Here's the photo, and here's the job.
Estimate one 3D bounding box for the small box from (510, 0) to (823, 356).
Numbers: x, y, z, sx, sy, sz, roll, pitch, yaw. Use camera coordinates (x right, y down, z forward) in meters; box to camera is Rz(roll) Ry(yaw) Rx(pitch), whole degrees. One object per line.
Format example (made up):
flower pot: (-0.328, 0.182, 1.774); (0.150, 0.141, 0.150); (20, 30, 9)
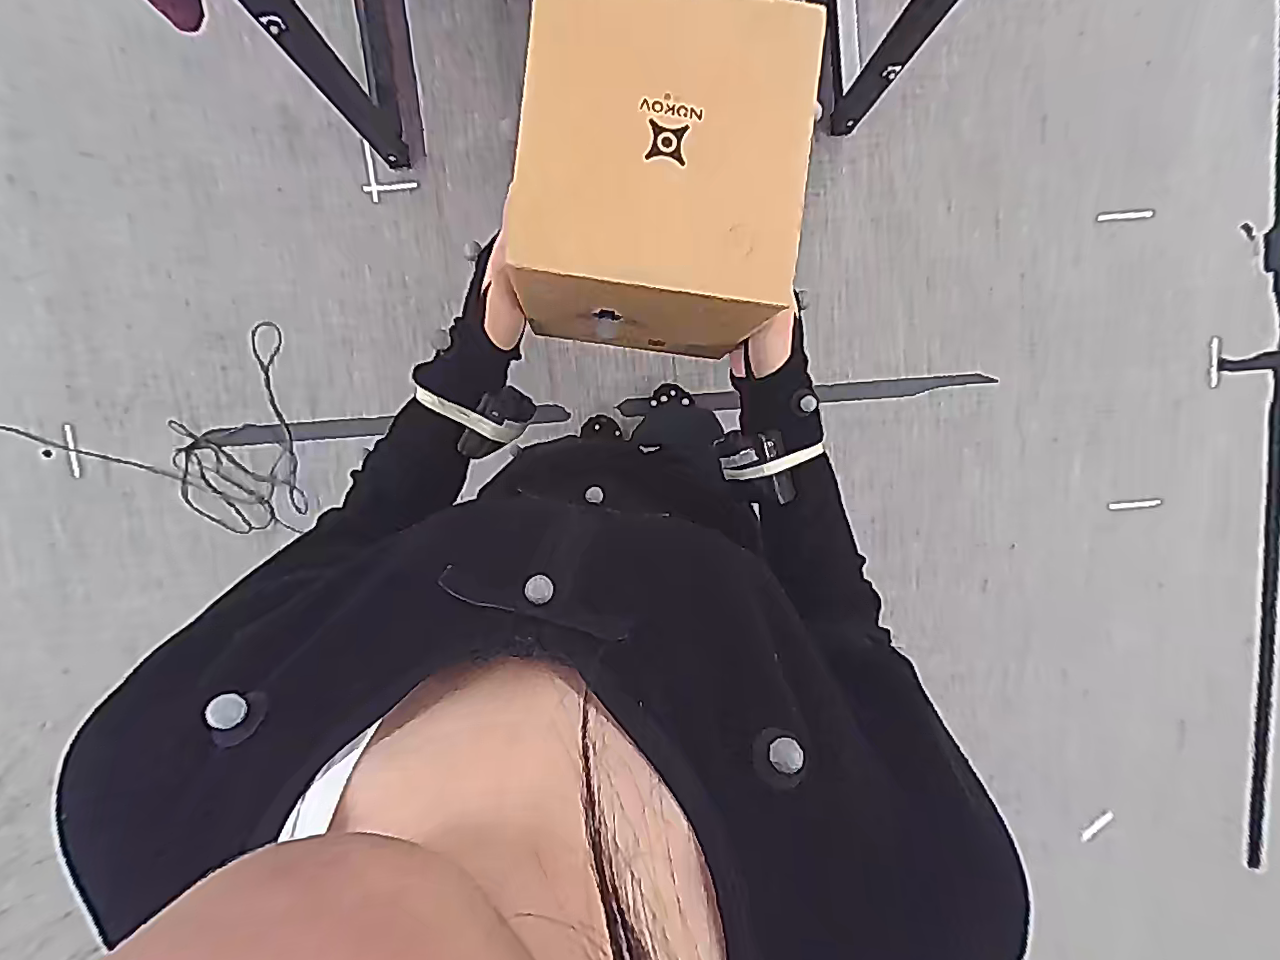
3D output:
small box: (0.010, -0.197, 0.390); (0.168, 0.176, 0.179); (7, 90, -6)

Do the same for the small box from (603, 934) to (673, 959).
small box: (0.005, 1.220, 1.260); (0.168, 0.176, 0.179); (-8, 96, -2)
